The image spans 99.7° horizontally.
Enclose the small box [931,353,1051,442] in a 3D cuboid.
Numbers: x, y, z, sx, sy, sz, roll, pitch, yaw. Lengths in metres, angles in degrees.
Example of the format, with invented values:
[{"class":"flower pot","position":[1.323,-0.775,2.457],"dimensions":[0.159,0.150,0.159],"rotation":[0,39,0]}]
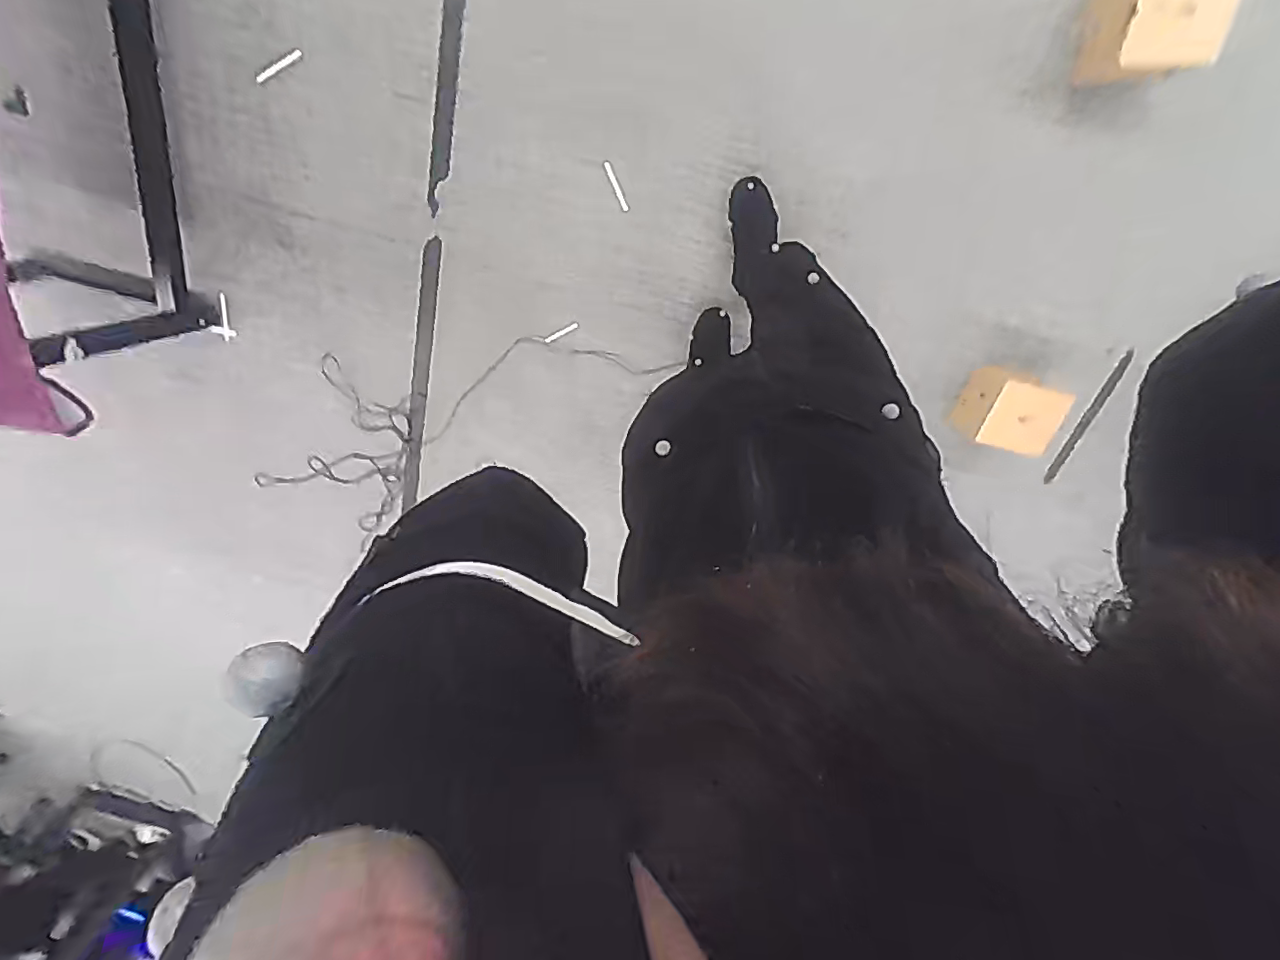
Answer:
[{"class":"small box","position":[0.910,-0.224,1.426],"dimensions":[0.179,0.176,0.168],"rotation":[14,118,-3]}]
